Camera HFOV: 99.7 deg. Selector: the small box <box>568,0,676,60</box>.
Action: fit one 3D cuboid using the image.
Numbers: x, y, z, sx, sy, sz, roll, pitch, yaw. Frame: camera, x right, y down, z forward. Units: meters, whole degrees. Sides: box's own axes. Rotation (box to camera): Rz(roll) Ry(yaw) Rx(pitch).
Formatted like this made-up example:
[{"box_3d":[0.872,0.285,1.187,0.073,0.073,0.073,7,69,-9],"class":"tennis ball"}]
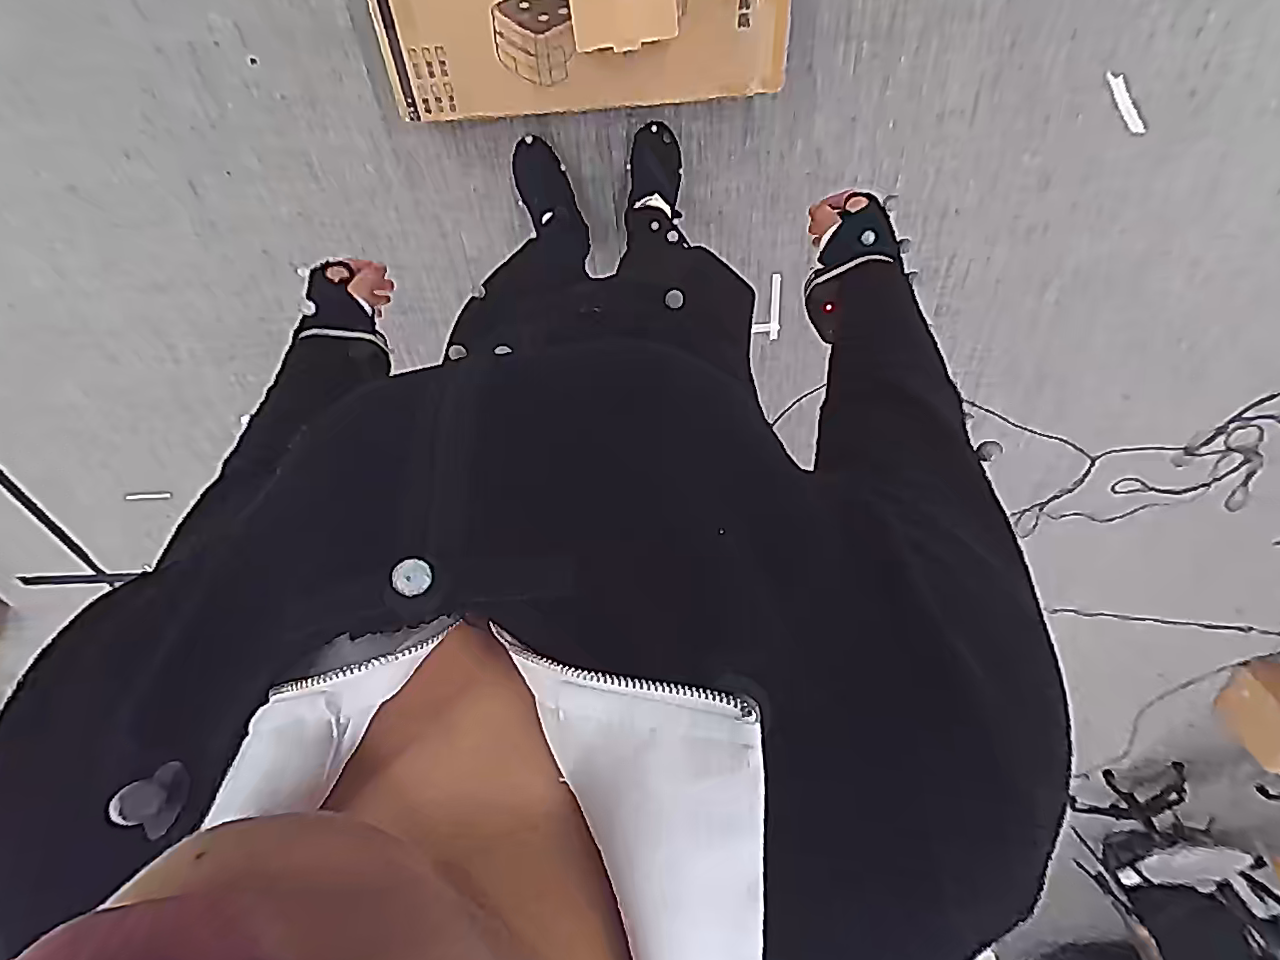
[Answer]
[{"box_3d":[-0.031,-0.798,0.869,0.168,0.176,0.179,-5,129,3],"class":"small box"}]
